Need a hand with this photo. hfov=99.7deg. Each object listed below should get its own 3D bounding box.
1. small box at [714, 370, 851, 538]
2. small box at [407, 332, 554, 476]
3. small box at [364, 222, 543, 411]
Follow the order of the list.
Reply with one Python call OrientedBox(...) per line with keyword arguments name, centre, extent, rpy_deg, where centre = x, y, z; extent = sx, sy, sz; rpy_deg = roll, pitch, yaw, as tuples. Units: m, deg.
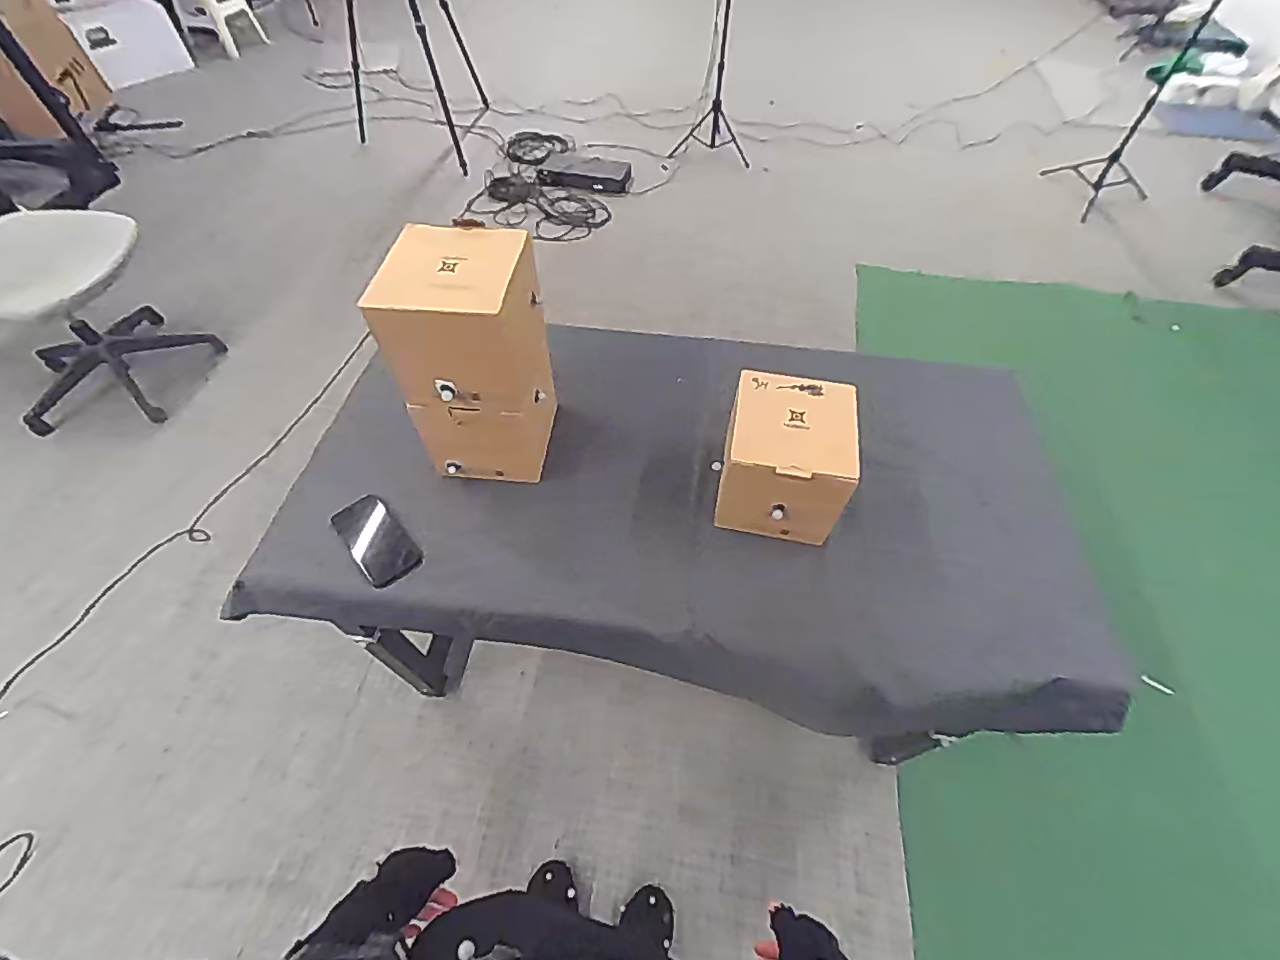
OrientedBox(name="small box", centre=(0.207, -0.034, 0.807), extent=(0.168, 0.176, 0.179), rpy_deg=(10, 56, 6))
OrientedBox(name="small box", centre=(-0.237, -0.124, 0.860), extent=(0.168, 0.176, 0.179), rpy_deg=(5, 54, 2))
OrientedBox(name="small box", centre=(-0.231, -0.217, 0.727), extent=(0.168, 0.176, 0.179), rpy_deg=(4, 56, 2))
